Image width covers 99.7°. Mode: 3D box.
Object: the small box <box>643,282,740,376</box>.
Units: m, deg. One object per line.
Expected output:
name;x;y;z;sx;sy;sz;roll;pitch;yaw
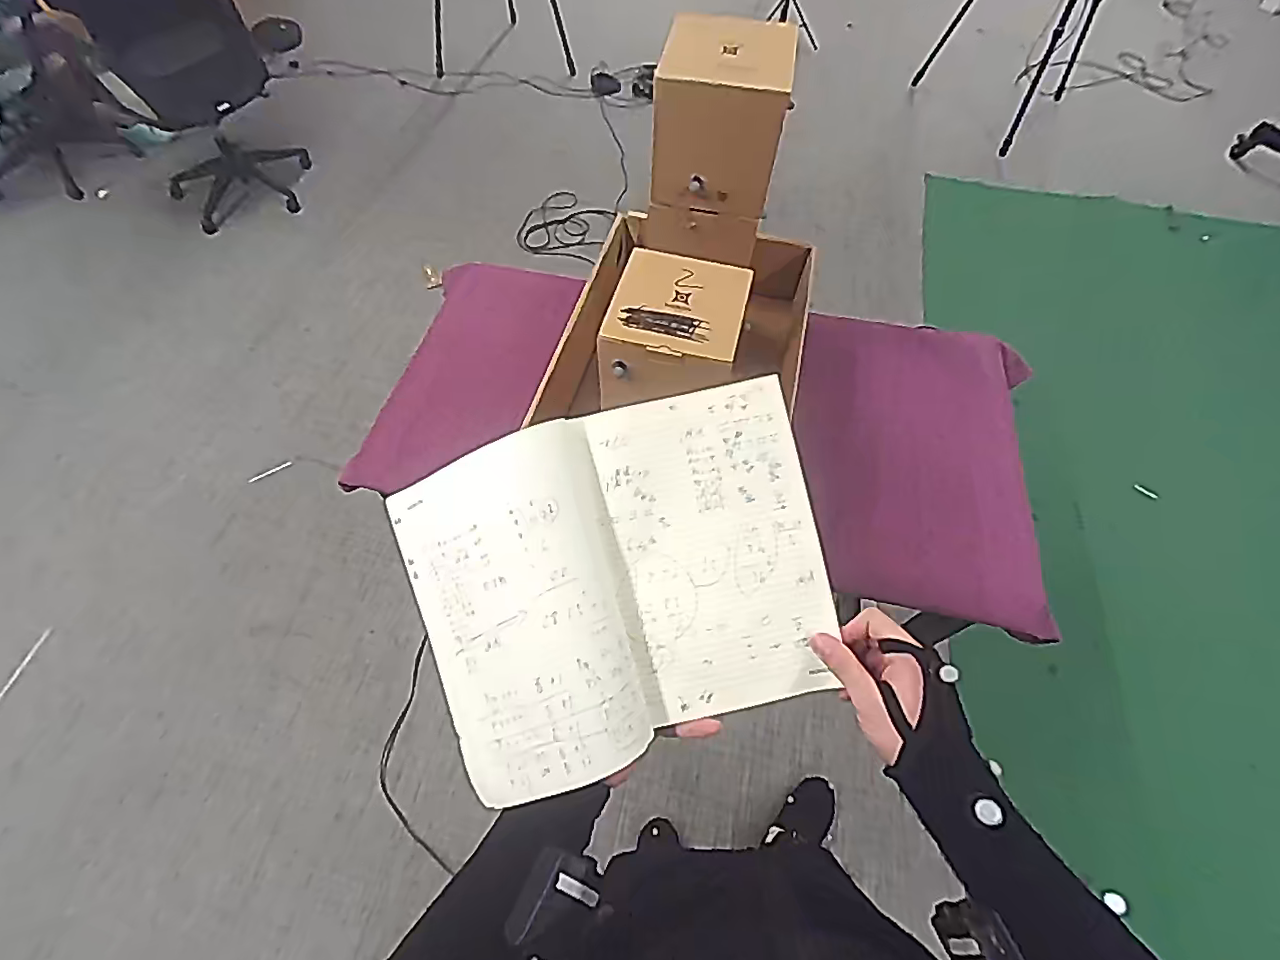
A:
small box;0.101;-0.330;1.035;0.168;0.176;0.179;11;62;5

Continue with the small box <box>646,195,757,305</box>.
small box;0.106;-0.418;0.896;0.168;0.176;0.179;11;60;4

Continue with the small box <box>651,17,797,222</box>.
small box;0.110;-0.497;0.754;0.168;0.176;0.179;10;62;5
